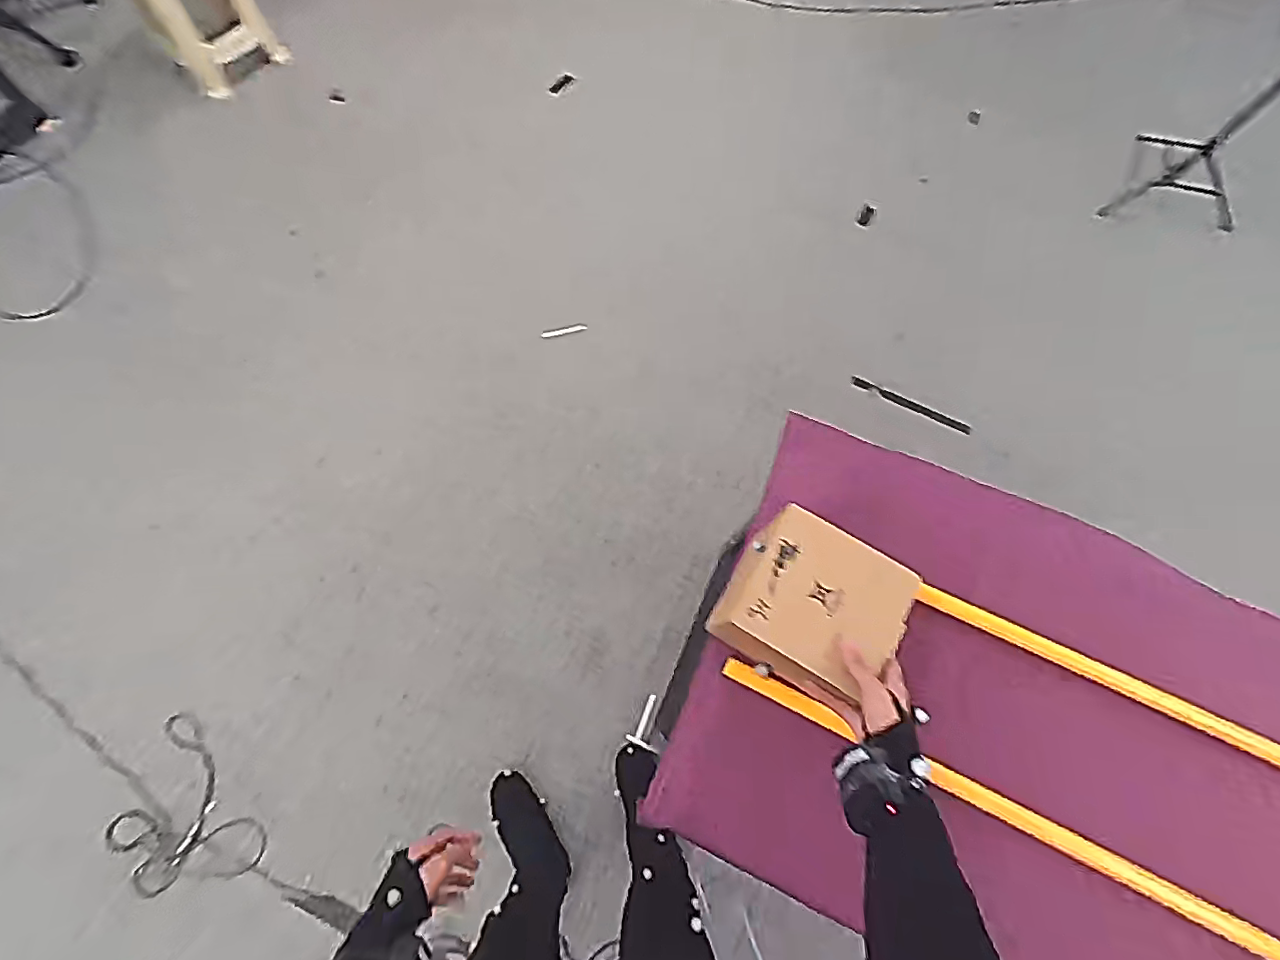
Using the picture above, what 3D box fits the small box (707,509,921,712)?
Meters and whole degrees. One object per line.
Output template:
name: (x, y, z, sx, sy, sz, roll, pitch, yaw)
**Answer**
small box: (0.208, 0.166, 0.689, 0.179, 0.176, 0.168, 32, 73, 7)
